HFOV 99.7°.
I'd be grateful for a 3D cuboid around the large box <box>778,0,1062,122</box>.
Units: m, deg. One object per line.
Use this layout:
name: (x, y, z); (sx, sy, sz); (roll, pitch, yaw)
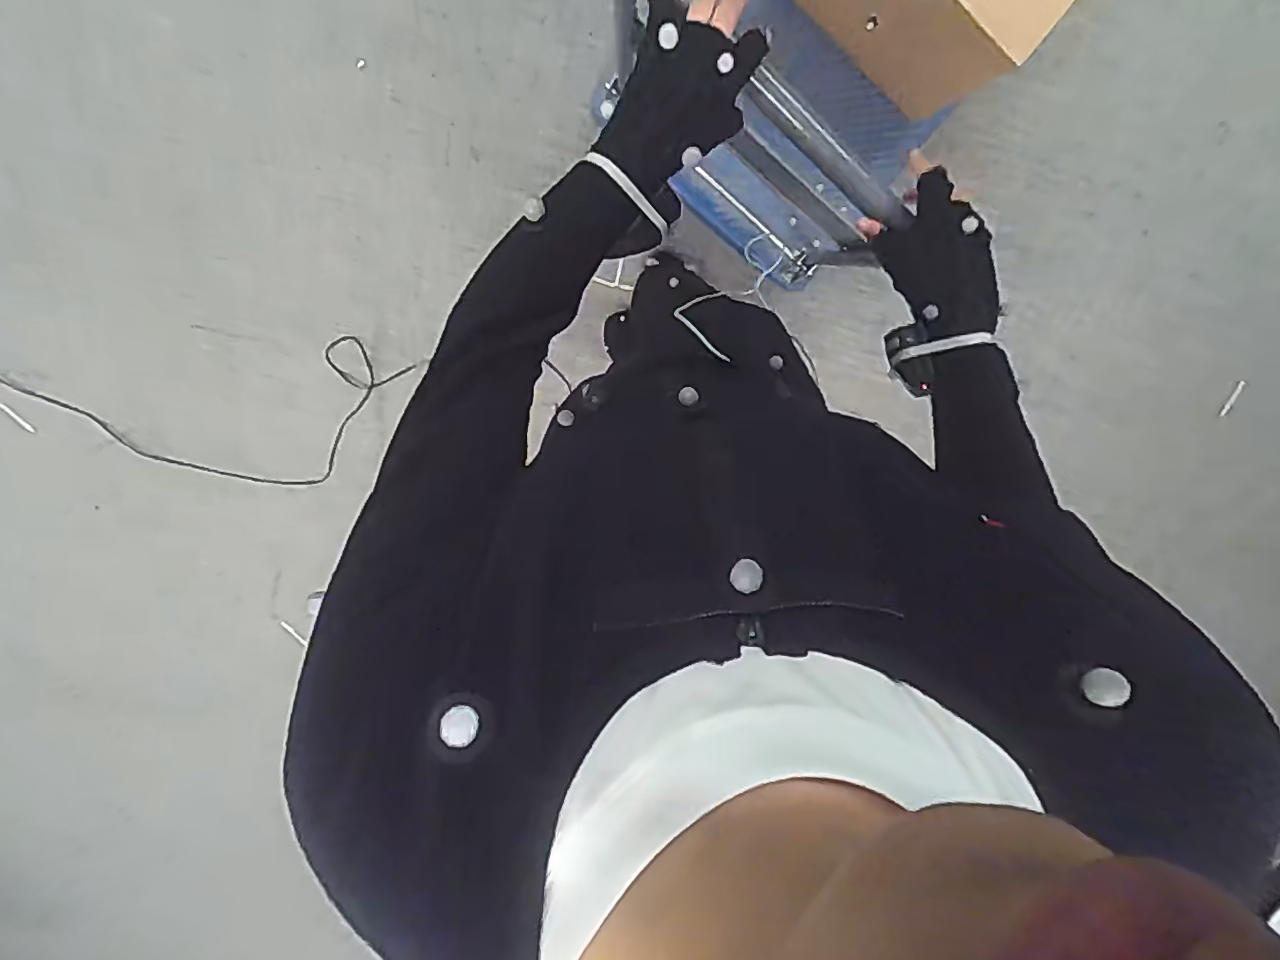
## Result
large box: (0.474, -0.886, 0.871); (0.408, 0.320, 0.320); (34, 104, -13)
